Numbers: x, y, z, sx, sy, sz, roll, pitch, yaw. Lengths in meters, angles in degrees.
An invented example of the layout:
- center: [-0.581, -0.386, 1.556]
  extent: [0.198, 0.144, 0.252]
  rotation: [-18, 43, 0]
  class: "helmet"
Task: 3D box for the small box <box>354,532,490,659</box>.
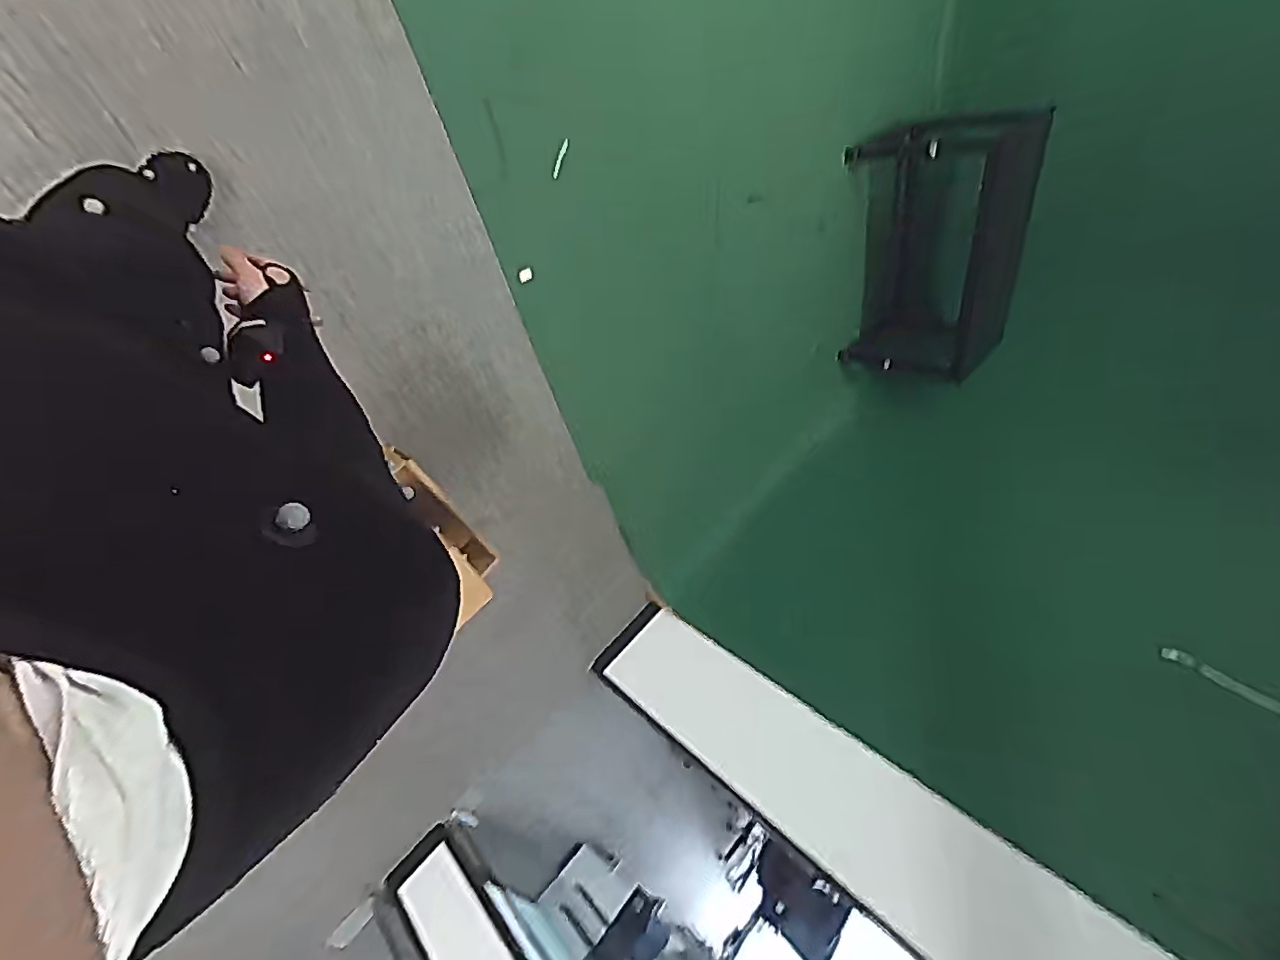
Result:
- center: [-0.456, 0.230, 1.127]
  extent: [0.168, 0.176, 0.179]
  rotation: [-44, 137, -23]
  class: "small box"
